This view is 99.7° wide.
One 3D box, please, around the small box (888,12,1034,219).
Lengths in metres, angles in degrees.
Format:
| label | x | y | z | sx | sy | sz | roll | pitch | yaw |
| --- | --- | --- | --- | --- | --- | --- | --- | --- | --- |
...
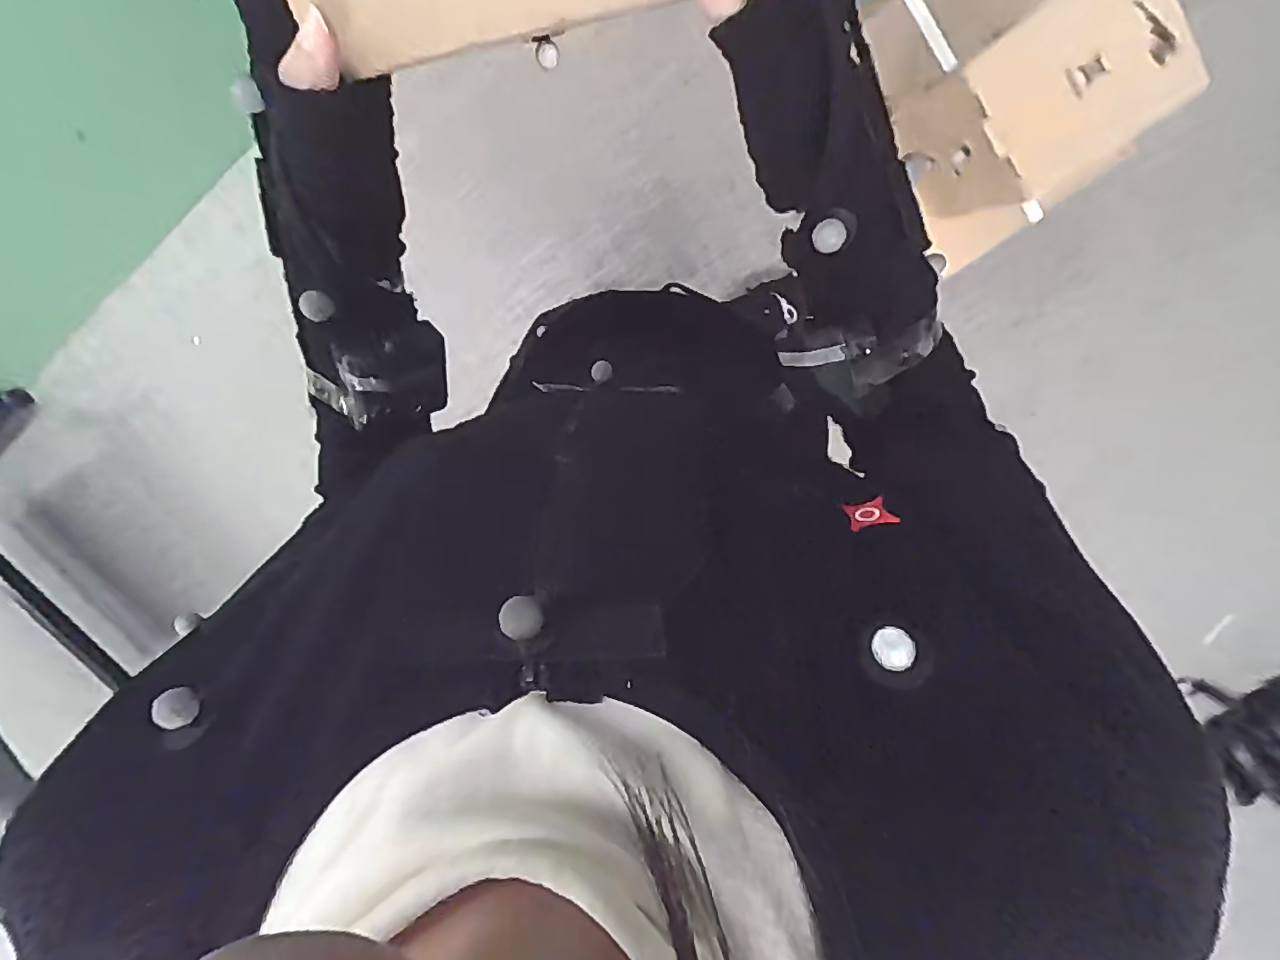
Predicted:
| label | x | y | z | sx | sy | sz | roll | pitch | yaw |
| --- | --- | --- | --- | --- | --- | --- | --- | --- | --- |
| small box | 0.489 | -0.503 | 0.783 | 0.168 | 0.176 | 0.179 | -32 | 105 | 21 |

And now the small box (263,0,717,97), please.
| label | x | y | z | sx | sy | sz | roll | pitch | yaw |
| --- | --- | --- | --- | --- | --- | --- | --- | --- | --- |
| small box | -0.063 | -0.281 | 0.218 | 0.179 | 0.176 | 0.168 | -5 | 131 | 11 |

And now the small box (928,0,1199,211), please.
| label | x | y | z | sx | sy | sz | roll | pitch | yaw |
| --- | --- | --- | --- | --- | --- | --- | --- | --- | --- |
| small box | 0.466 | -0.442 | 0.633 | 0.179 | 0.176 | 0.168 | -32 | 104 | 22 |
